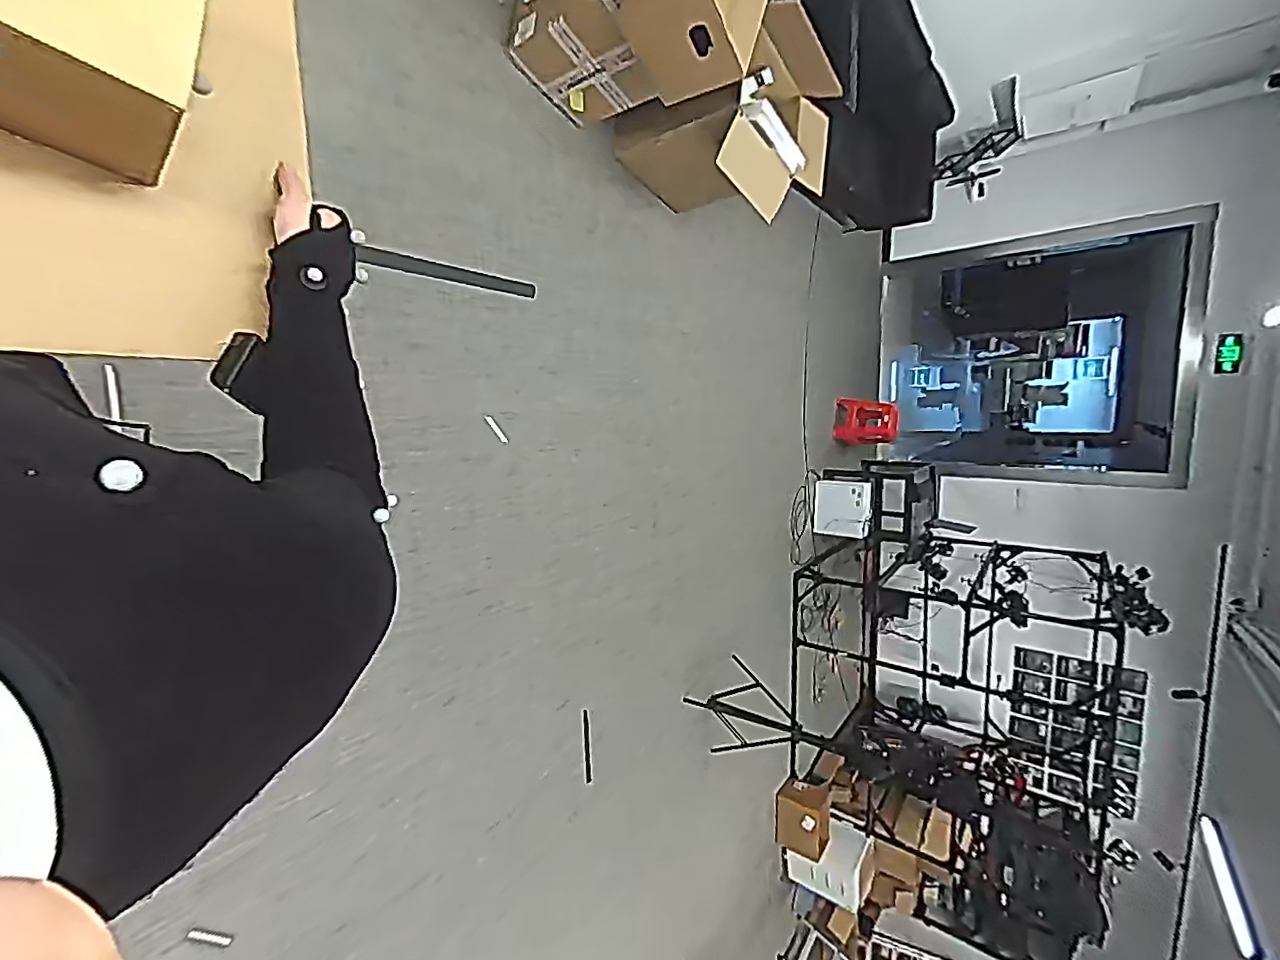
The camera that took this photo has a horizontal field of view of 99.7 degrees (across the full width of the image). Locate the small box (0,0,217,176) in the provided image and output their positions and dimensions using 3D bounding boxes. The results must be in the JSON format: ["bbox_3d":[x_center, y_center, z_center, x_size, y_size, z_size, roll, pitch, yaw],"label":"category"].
[{"bbox_3d":[-0.416,-0.341,0.370,0.179,0.176,0.168,10,87,-47],"label":"small box"}]
